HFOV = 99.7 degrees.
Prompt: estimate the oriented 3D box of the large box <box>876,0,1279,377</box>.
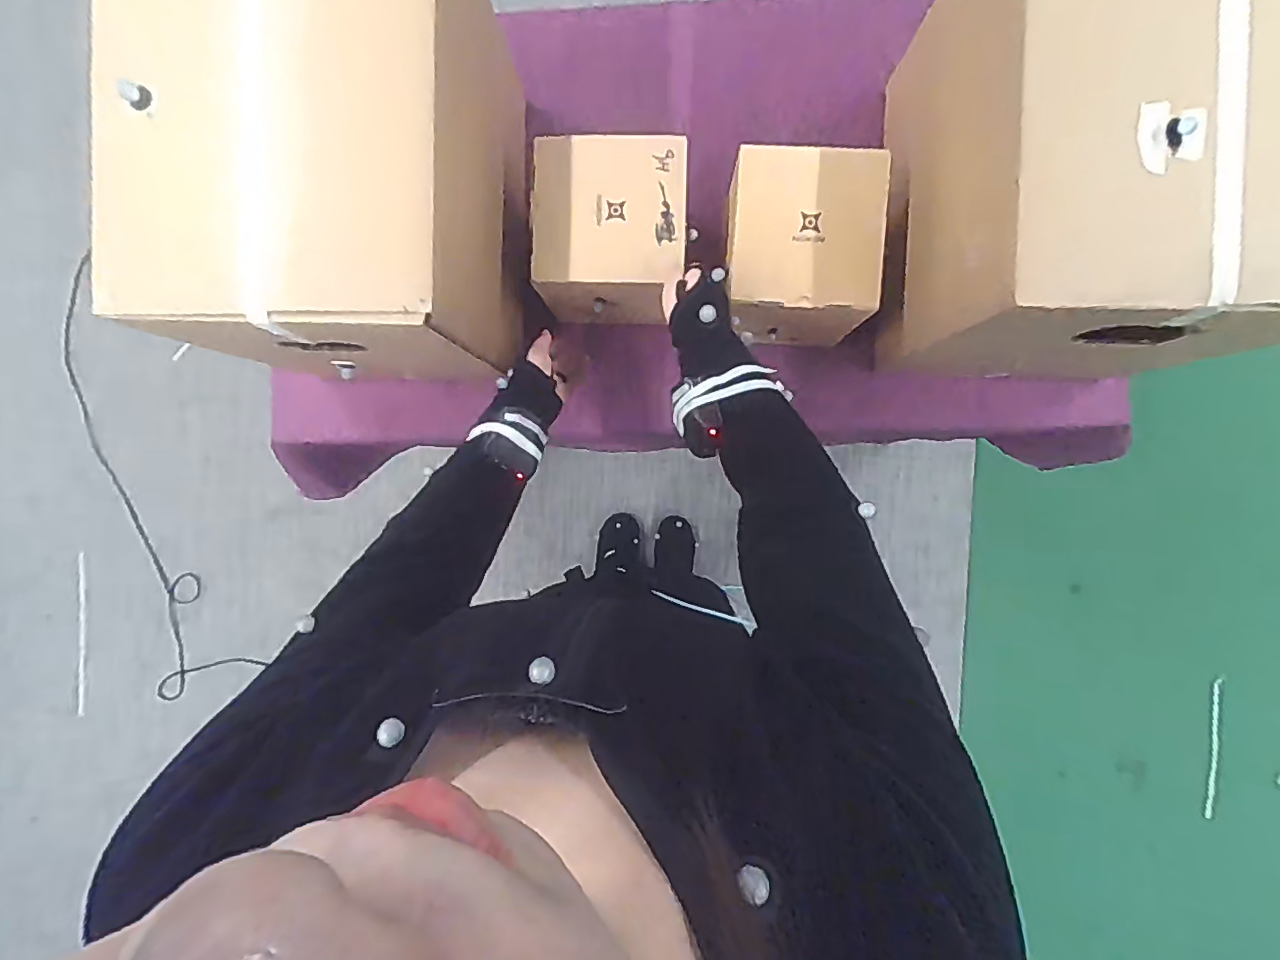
[{"bbox_3d":[0.481,-0.343,0.601,0.320,0.320,0.408,2,92,2],"label":"large box"}]
